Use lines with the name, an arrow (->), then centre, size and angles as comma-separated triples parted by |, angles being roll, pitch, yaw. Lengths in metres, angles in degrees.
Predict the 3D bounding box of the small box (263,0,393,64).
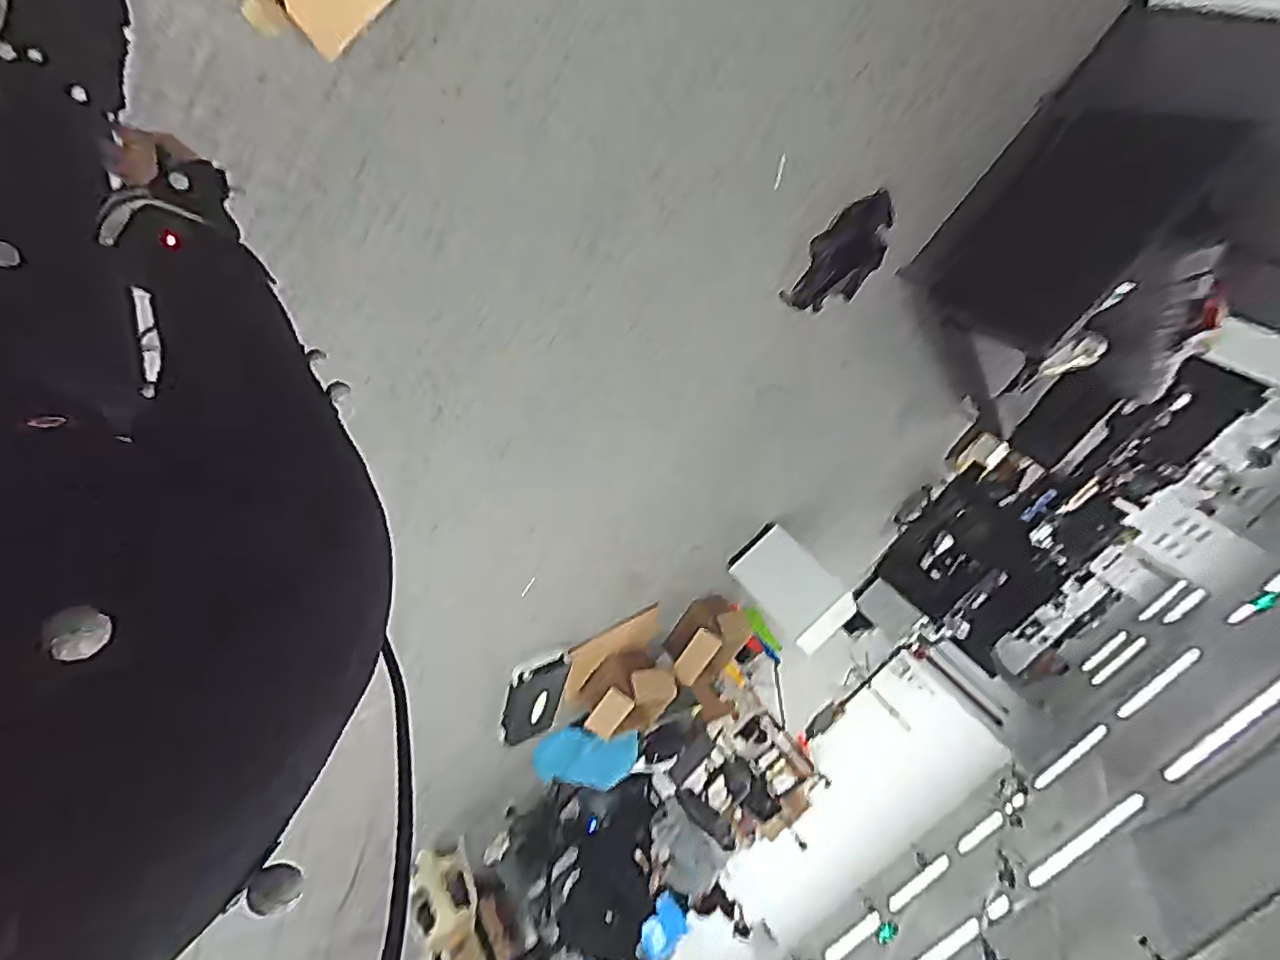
small box -> -0.484, -0.762, 0.786 | 0.179, 0.176, 0.168 | -44, 146, 3
